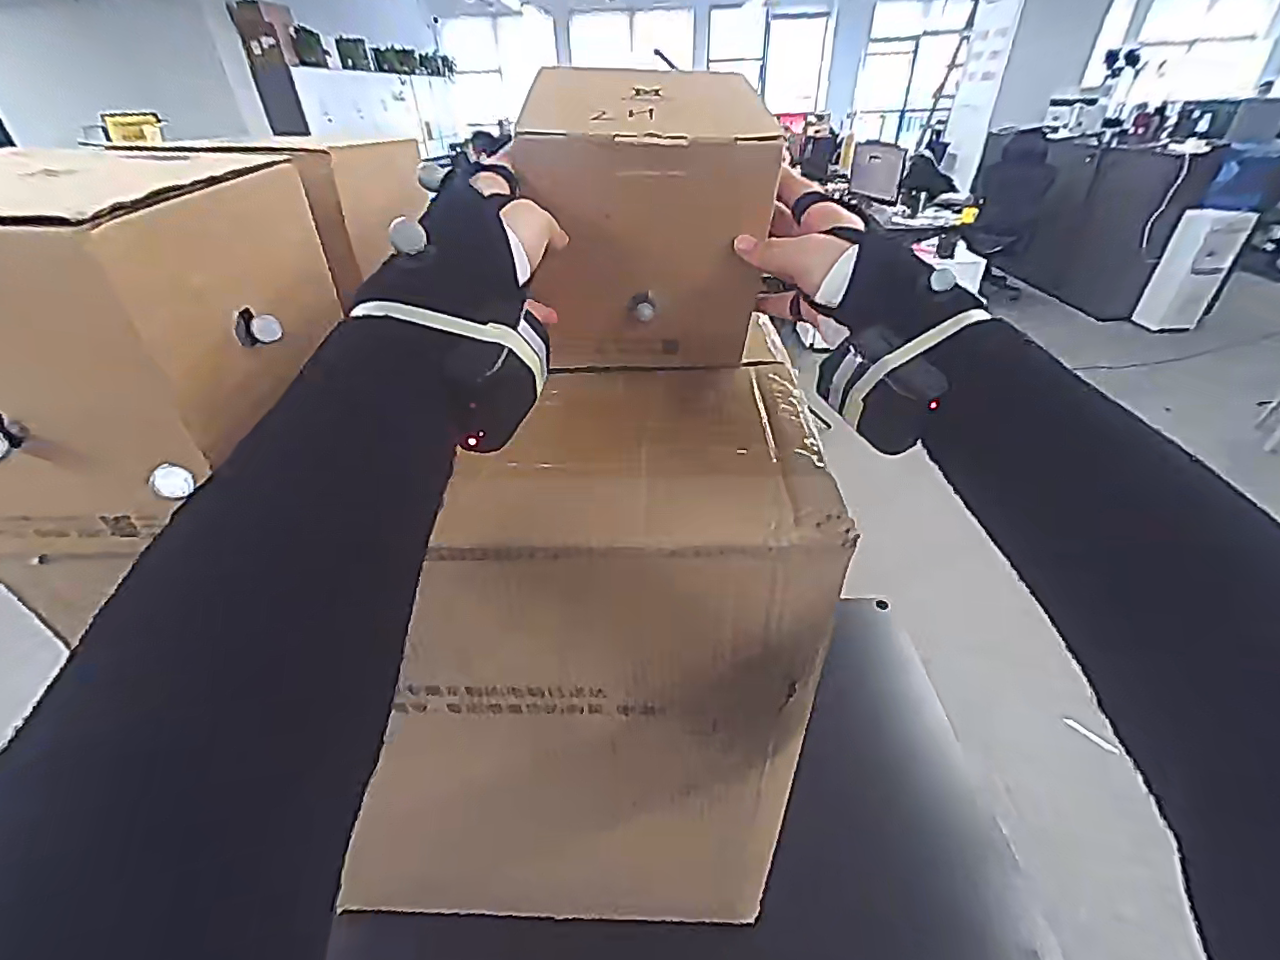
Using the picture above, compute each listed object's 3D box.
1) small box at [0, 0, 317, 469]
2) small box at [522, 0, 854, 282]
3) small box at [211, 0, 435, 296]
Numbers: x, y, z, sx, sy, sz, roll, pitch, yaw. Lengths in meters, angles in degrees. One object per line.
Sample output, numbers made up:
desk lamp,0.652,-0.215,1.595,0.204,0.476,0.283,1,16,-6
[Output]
small box,-0.271,-0.116,0.225,0.168,0.176,0.179,-1,39,-3
small box,0.018,-0.252,0.359,0.168,0.176,0.179,0,47,-2
small box,-0.275,-0.237,0.394,0.179,0.176,0.168,1,34,2
